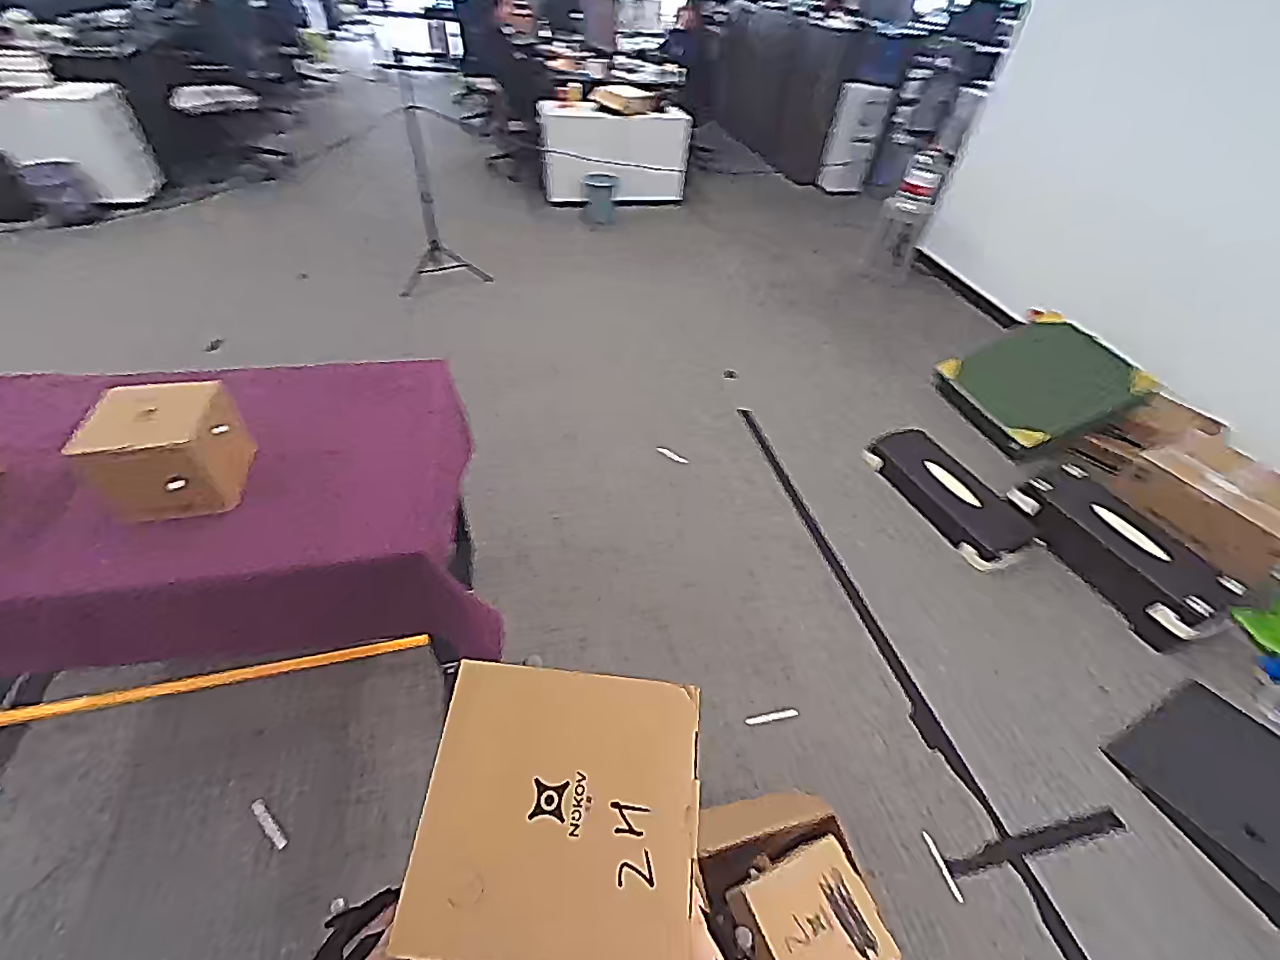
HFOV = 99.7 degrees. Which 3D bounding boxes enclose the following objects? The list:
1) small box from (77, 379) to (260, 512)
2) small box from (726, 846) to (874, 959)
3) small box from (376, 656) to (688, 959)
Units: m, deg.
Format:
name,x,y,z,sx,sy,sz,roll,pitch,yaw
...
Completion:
name,x,y,z,sx,sy,sz,roll,pitch,yaw
small box,-0.811,-0.057,0.957,0.168,0.176,0.179,-6,46,-12
small box,0.278,0.816,0.986,0.168,0.176,0.179,-25,56,-23
small box,-0.064,0.247,0.416,0.179,0.176,0.168,7,58,-2
